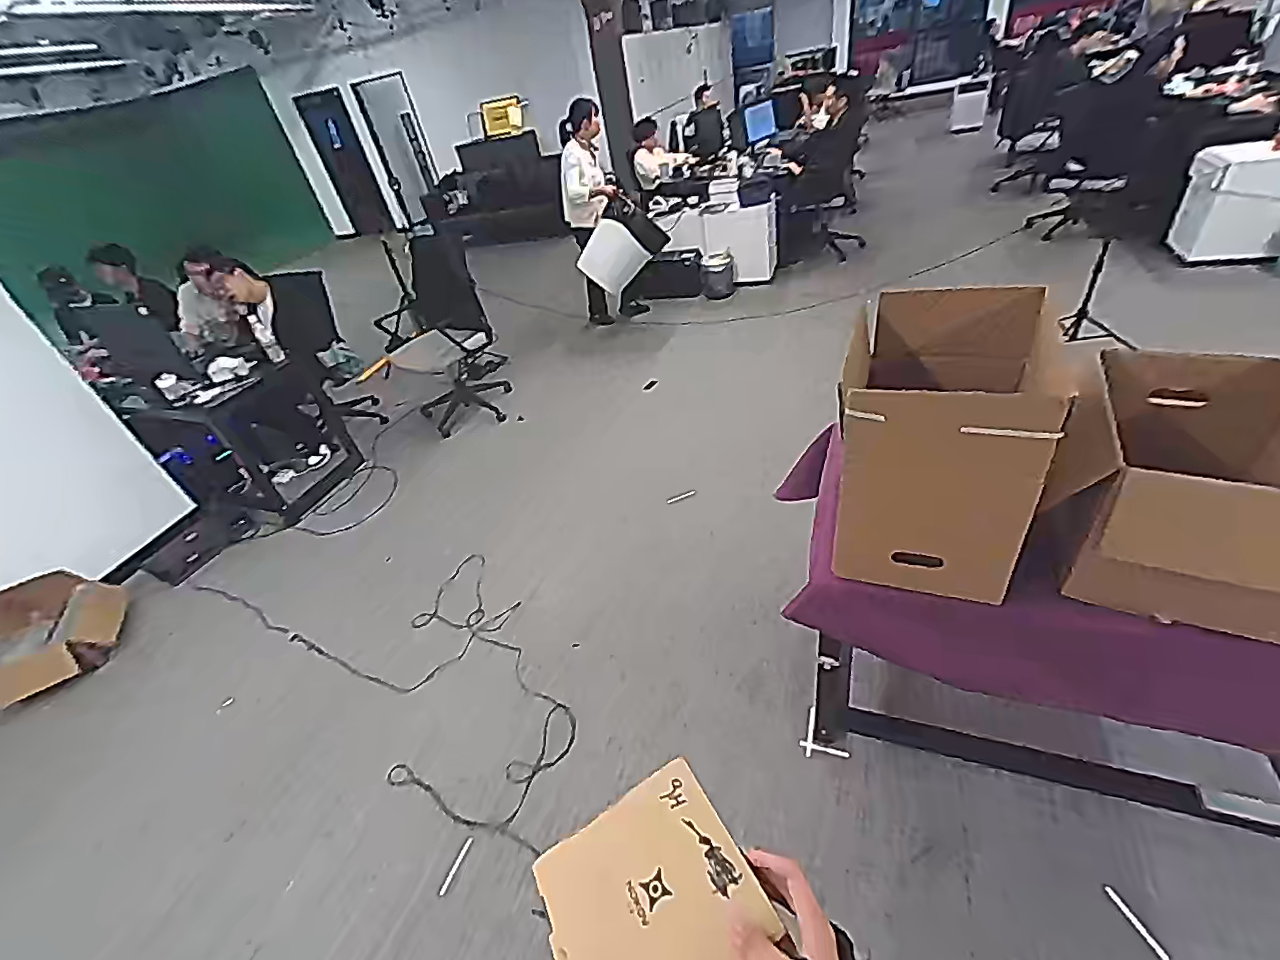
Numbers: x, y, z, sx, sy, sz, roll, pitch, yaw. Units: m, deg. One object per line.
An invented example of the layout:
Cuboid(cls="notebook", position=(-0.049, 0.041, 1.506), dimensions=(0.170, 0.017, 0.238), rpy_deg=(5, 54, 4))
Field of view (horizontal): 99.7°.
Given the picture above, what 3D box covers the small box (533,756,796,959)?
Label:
Cuboid(cls="small box", position=(0.027, 0.416, 0.519), dimensions=(0.179, 0.176, 0.168), rpy_deg=(-29, 39, -10))
